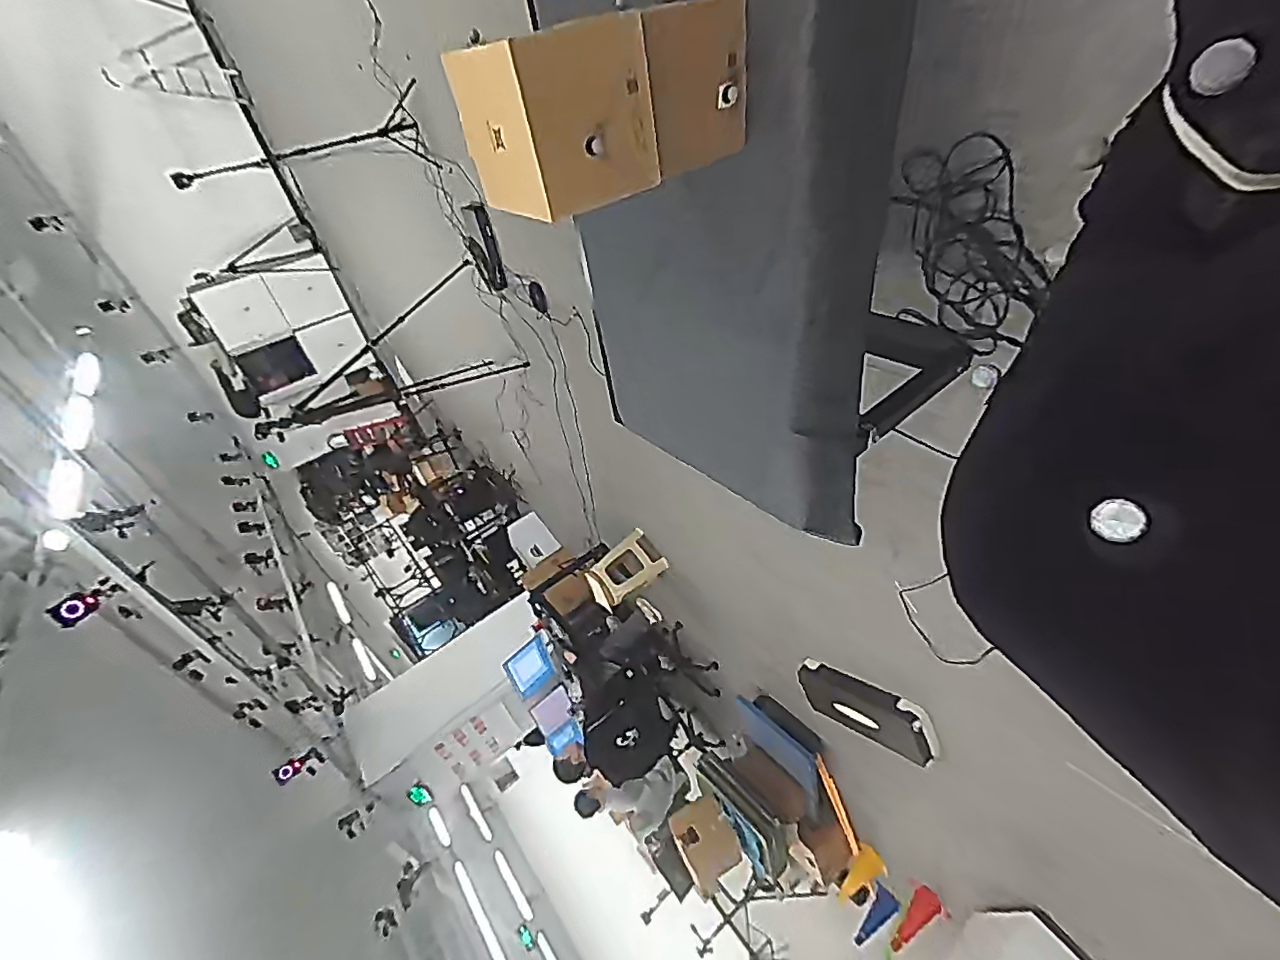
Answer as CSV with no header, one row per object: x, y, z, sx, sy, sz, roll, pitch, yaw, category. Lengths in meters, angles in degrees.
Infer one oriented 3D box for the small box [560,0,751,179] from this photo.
0.025,-0.516,0.710,0.179,0.176,0.168,35,149,40,small box

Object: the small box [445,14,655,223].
-0.095,-0.428,0.644,0.179,0.176,0.168,36,150,42,small box
